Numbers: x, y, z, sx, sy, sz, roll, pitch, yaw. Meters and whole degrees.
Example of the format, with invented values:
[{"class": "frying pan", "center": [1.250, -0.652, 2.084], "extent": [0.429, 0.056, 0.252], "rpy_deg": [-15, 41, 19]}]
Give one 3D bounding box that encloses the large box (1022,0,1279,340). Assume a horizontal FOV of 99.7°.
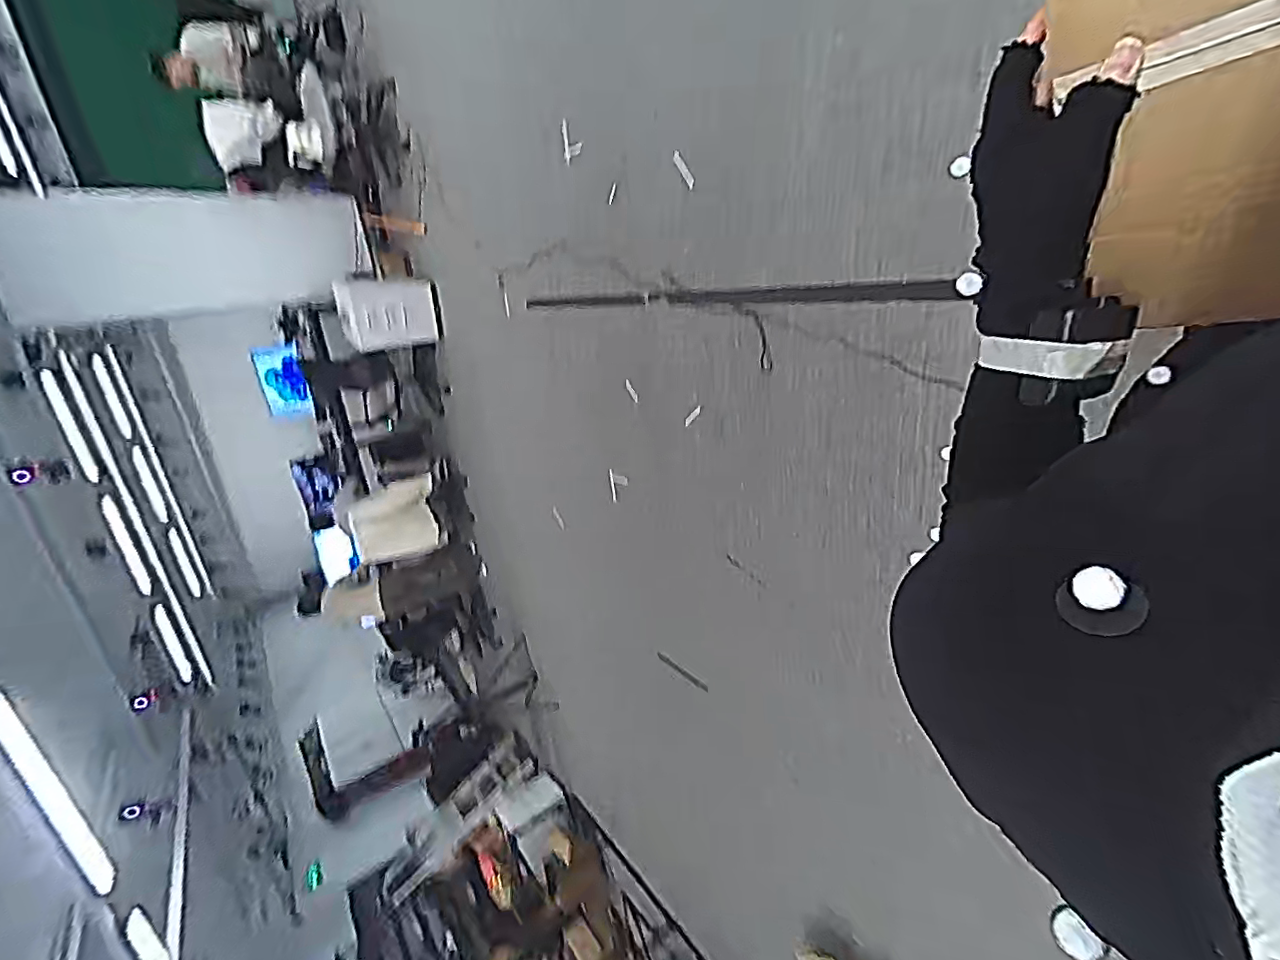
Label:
[{"class": "large box", "center": [0.455, -0.296, 0.231], "extent": [0.408, 0.320, 0.320], "rpy_deg": [9, 140, 52]}]
